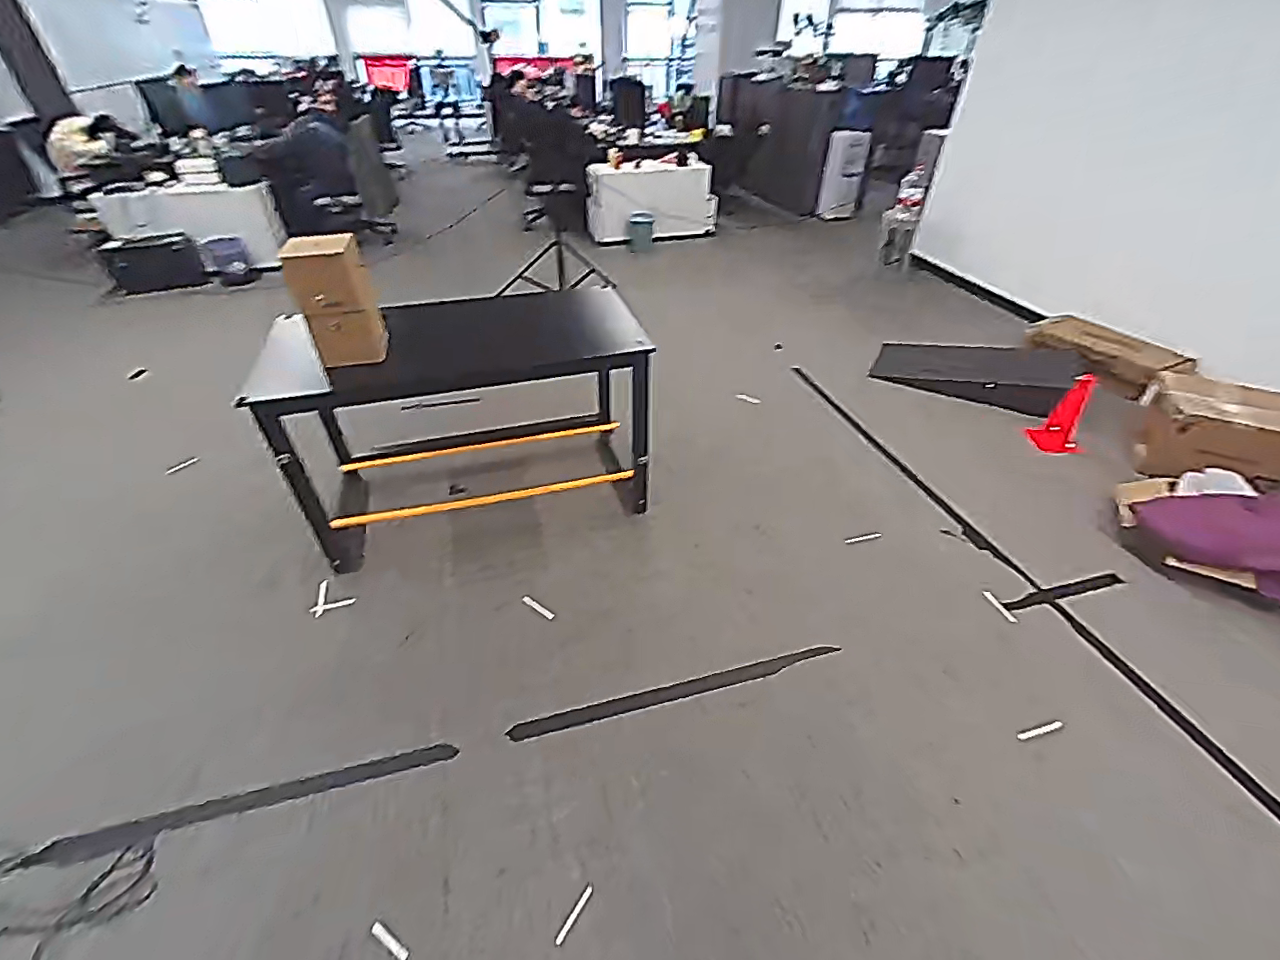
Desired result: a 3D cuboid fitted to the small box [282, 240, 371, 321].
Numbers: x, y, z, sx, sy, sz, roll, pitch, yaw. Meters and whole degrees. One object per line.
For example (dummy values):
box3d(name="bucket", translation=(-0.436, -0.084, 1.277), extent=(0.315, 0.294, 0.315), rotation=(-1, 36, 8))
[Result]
box3d(name="small box", translation=(-0.893, -0.576, 1.559), extent=(0.168, 0.176, 0.179), rotation=(-11, 42, -12))

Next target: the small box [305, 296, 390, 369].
box3d(name="small box", translation=(-0.892, -0.452, 1.664), extent=(0.179, 0.176, 0.168), rotation=(-9, 40, -13))
